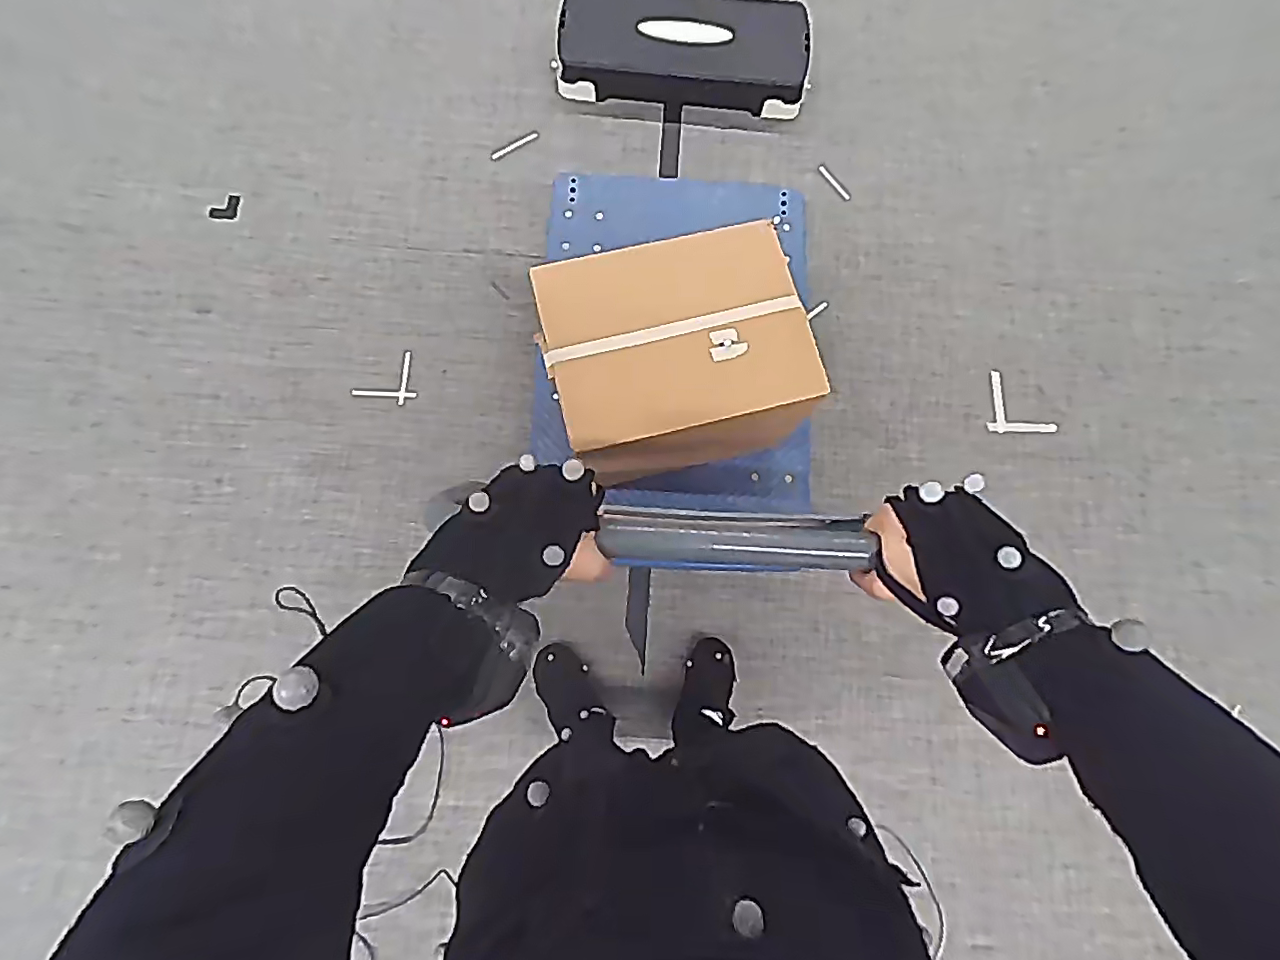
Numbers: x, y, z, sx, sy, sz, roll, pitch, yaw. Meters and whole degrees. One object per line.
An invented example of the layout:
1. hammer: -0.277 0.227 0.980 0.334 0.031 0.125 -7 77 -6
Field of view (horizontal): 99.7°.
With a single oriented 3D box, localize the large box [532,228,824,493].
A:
1. large box: 0.050 -0.194 0.989 0.408 0.320 0.320 -14 80 -6
